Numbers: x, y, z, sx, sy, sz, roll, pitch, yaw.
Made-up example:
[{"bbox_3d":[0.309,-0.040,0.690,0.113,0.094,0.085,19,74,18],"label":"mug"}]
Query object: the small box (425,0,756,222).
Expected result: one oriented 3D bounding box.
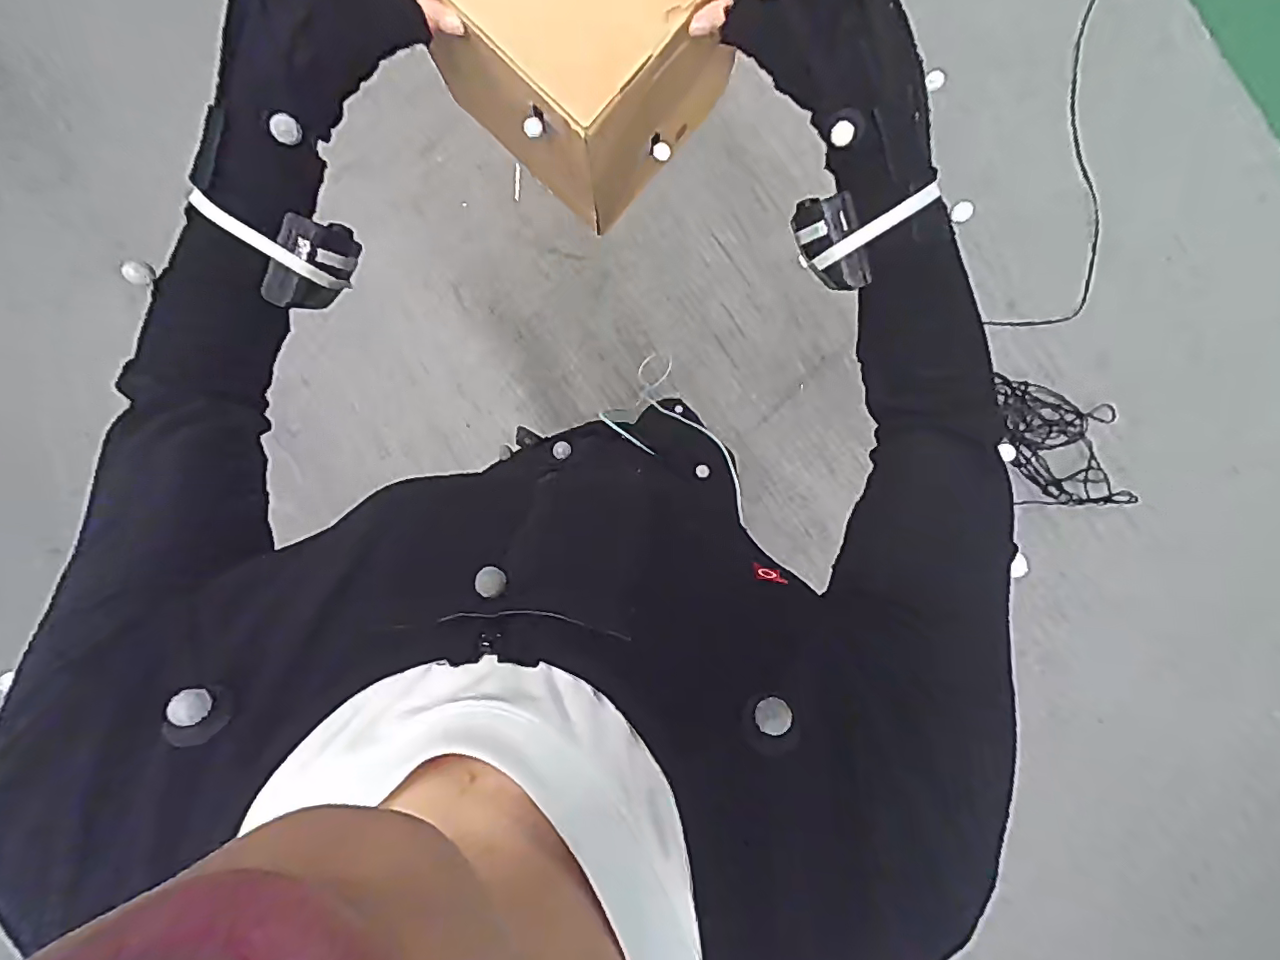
[{"bbox_3d":[-0.038,-0.331,0.396,0.179,0.176,0.168,43,92,-5],"label":"small box"}]
